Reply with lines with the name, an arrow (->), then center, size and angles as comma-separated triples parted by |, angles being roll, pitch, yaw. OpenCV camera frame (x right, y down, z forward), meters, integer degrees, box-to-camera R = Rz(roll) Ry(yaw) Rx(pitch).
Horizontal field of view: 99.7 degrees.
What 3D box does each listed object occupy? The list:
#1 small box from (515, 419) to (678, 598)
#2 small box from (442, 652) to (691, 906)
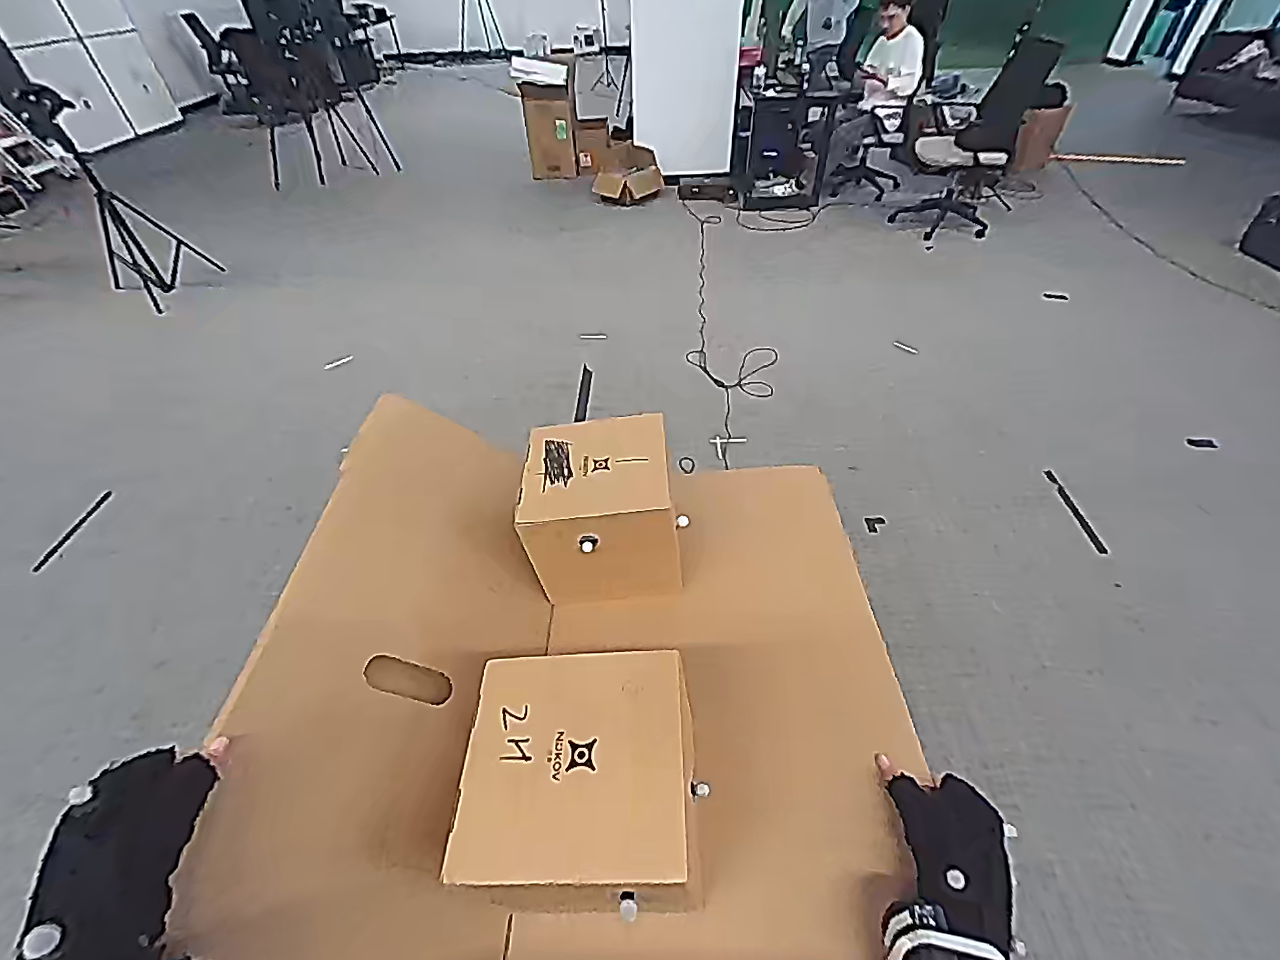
small box -> -0.047, 0.043, 0.715 | 0.179, 0.176, 0.168 | -5, 46, 4
small box -> -0.045, 0.272, 0.491 | 0.179, 0.176, 0.168 | -5, 45, 7
